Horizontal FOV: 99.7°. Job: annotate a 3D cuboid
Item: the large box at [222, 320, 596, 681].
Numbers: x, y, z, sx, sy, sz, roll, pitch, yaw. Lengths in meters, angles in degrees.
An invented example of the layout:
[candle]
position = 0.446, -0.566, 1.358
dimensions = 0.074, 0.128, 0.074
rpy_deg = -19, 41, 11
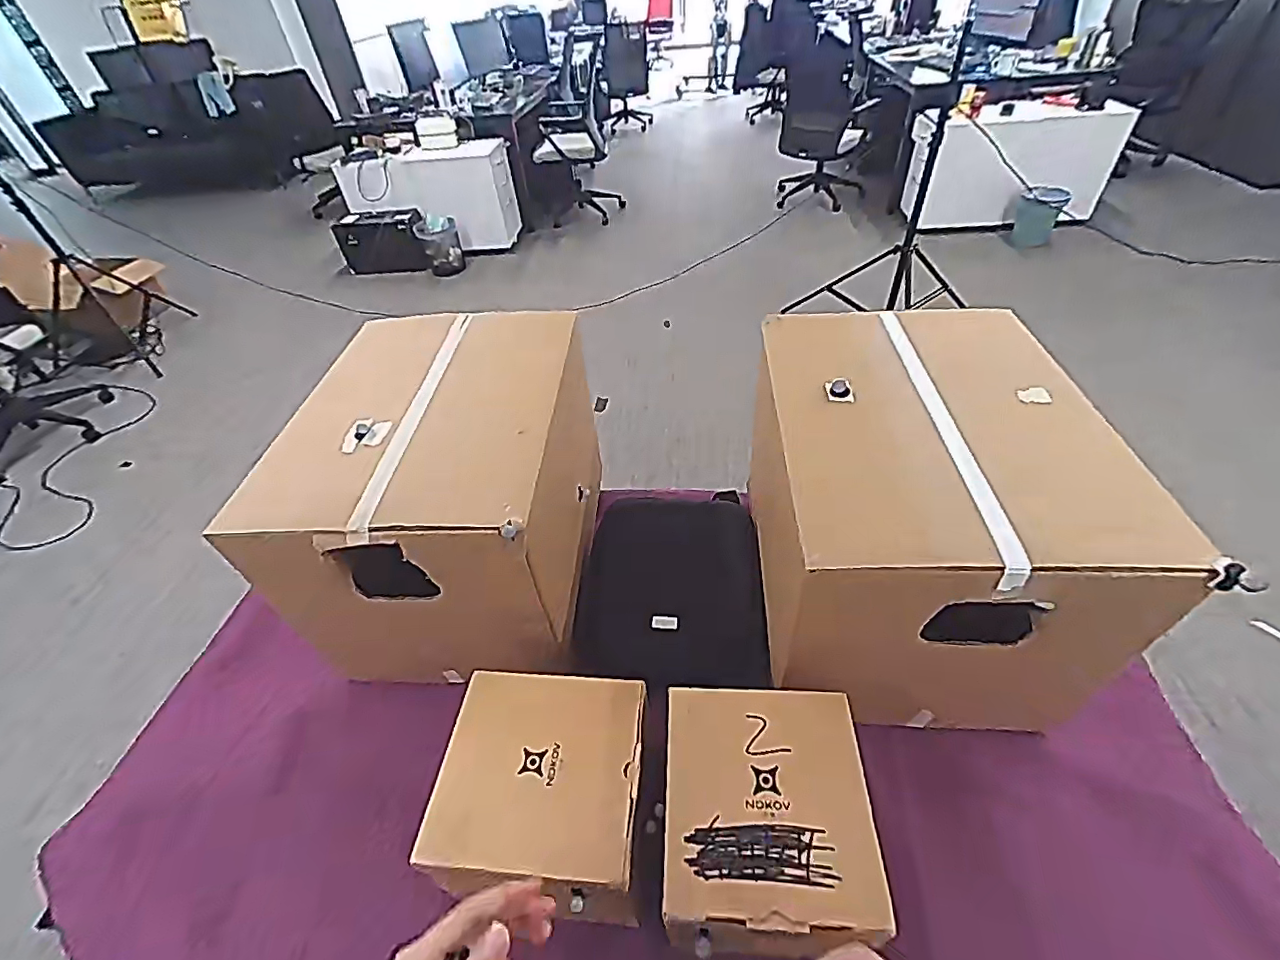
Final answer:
[large box]
position = -0.238, 0.021, 0.747
dimensions = 0.320, 0.320, 0.408
rpy_deg = -2, 46, 4
